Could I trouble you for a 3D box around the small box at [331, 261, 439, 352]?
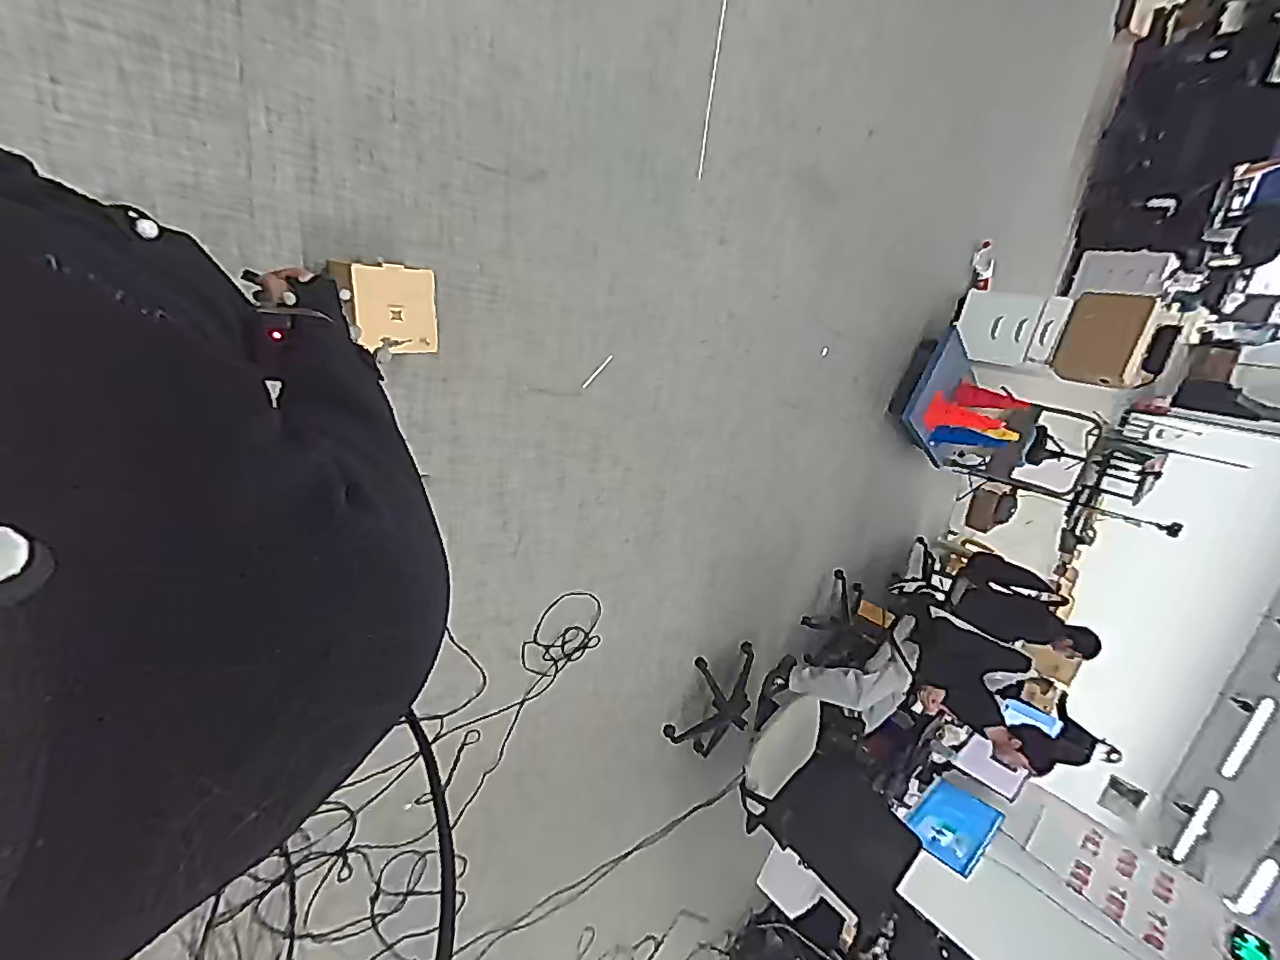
[{"bbox_3d":[-0.556,-0.379,1.178,0.168,0.176,0.179,-13,116,-39],"label":"small box"}]
